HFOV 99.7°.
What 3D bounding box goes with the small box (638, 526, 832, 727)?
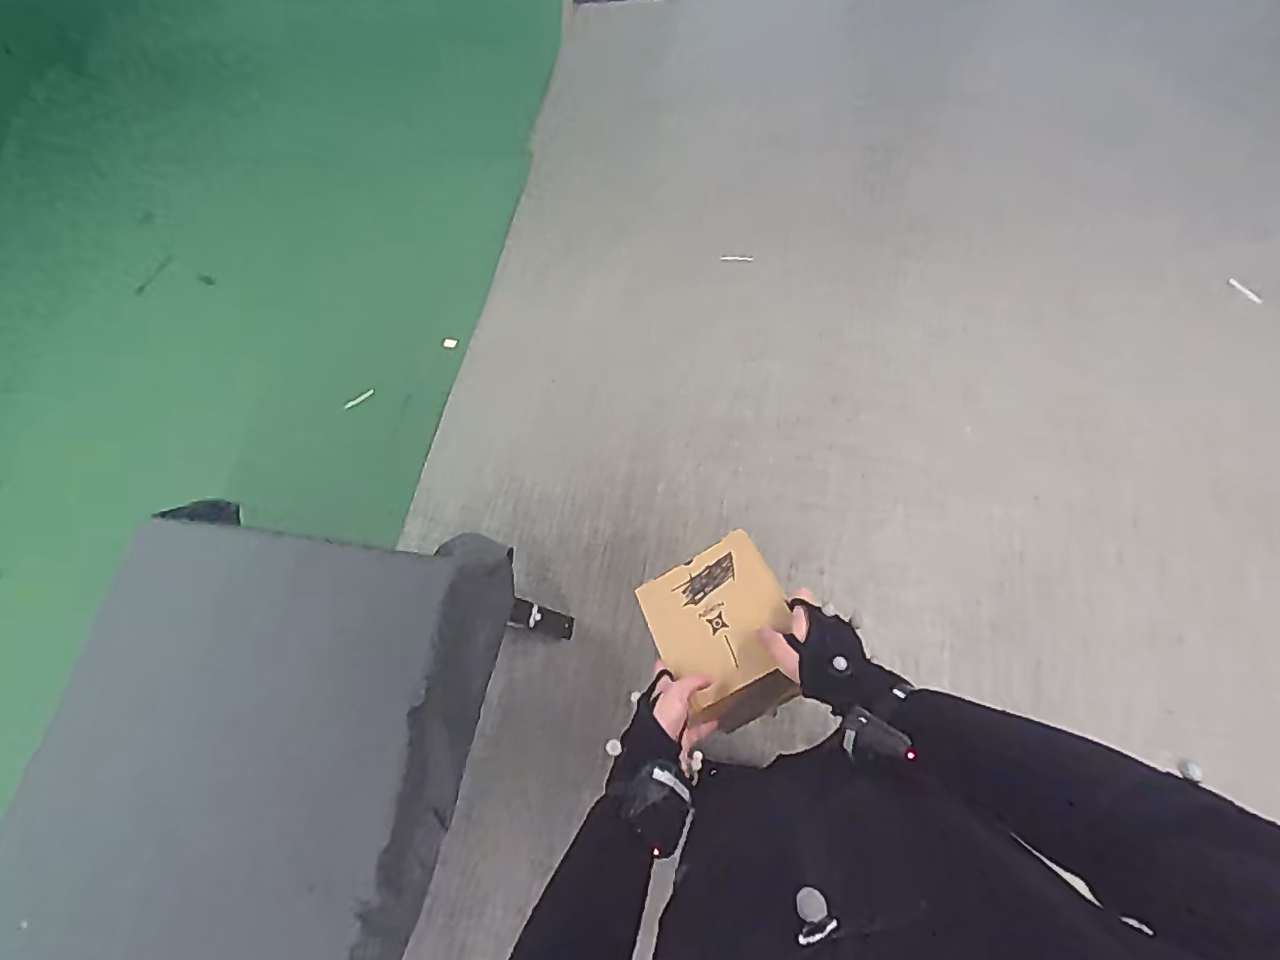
[{"bbox_3d":[0.126,0.198,0.708,0.168,0.176,0.179,-32,51,8],"label":"small box"}]
